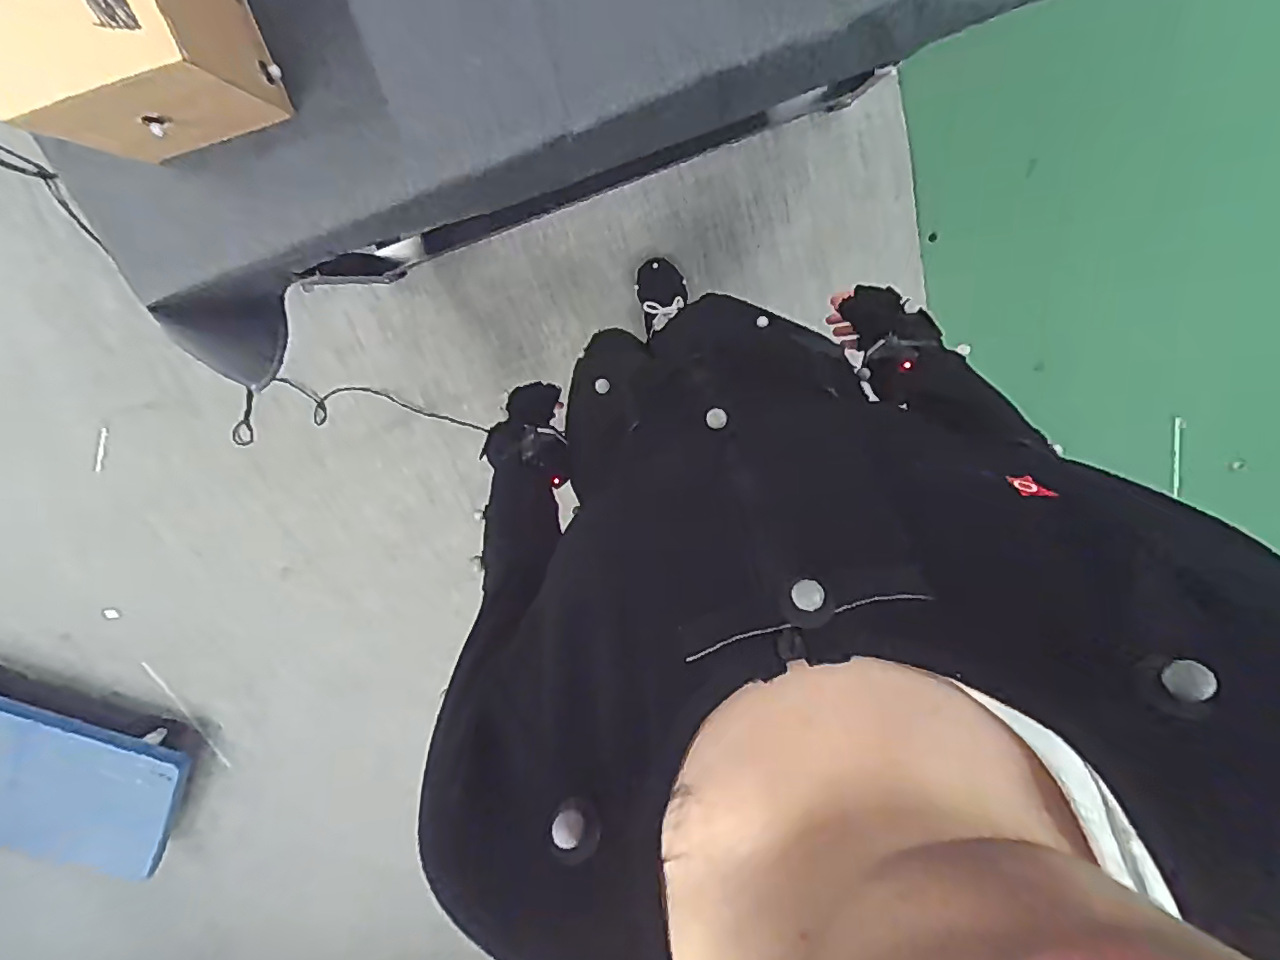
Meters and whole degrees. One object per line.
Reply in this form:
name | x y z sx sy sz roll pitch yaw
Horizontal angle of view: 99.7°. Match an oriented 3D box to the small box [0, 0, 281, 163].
small box | -0.480 -0.423 0.504 0.179 0.176 0.168 -15 109 4
